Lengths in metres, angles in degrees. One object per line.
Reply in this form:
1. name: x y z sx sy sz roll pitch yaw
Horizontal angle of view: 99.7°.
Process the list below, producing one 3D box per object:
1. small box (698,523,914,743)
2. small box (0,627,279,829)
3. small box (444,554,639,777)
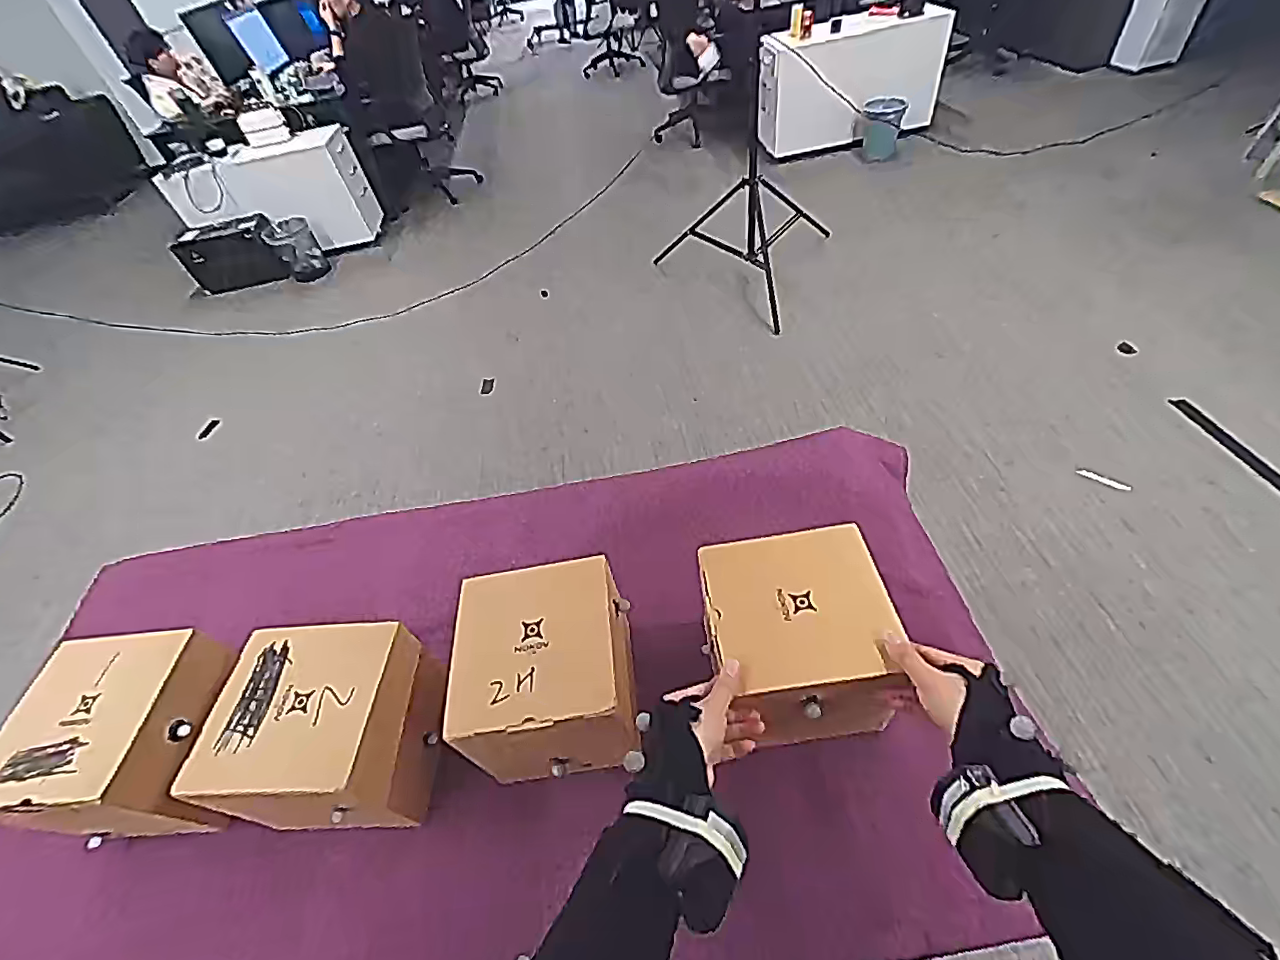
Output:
1. small box: 0.166 0.173 0.598 0.179 0.176 0.168 -10 48 4
2. small box: -0.570 0.293 0.628 0.168 0.176 0.179 -6 48 4
3. small box: -0.099 0.211 0.614 0.168 0.176 0.179 -10 48 2
